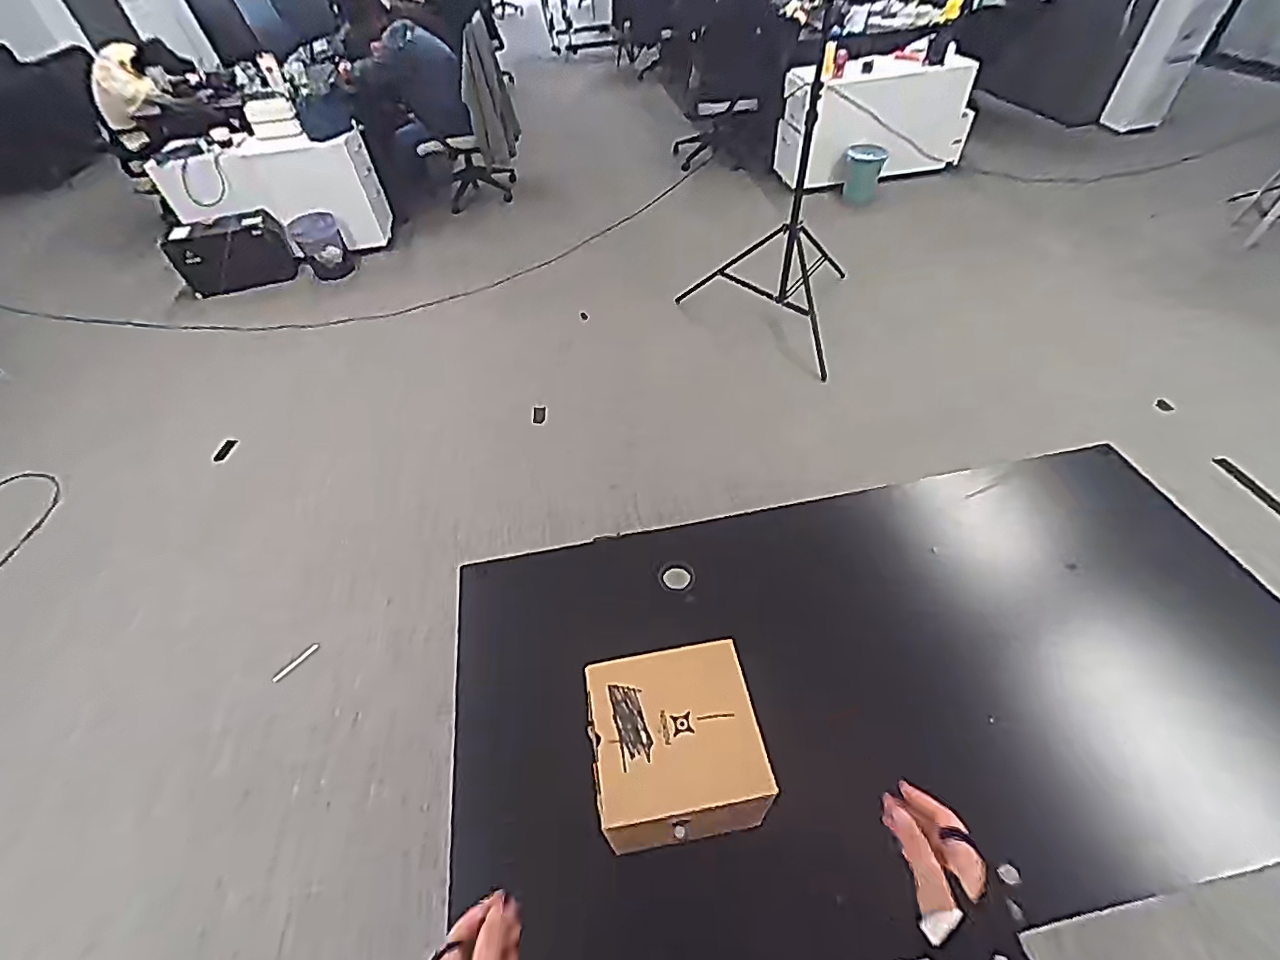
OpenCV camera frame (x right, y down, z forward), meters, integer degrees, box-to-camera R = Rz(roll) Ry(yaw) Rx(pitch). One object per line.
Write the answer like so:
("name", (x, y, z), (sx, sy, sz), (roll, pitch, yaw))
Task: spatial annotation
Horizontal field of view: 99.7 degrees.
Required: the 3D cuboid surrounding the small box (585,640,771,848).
("small box", (0.038, 0.314, 0.639), (0.179, 0.176, 0.168), (-9, 49, -5))
